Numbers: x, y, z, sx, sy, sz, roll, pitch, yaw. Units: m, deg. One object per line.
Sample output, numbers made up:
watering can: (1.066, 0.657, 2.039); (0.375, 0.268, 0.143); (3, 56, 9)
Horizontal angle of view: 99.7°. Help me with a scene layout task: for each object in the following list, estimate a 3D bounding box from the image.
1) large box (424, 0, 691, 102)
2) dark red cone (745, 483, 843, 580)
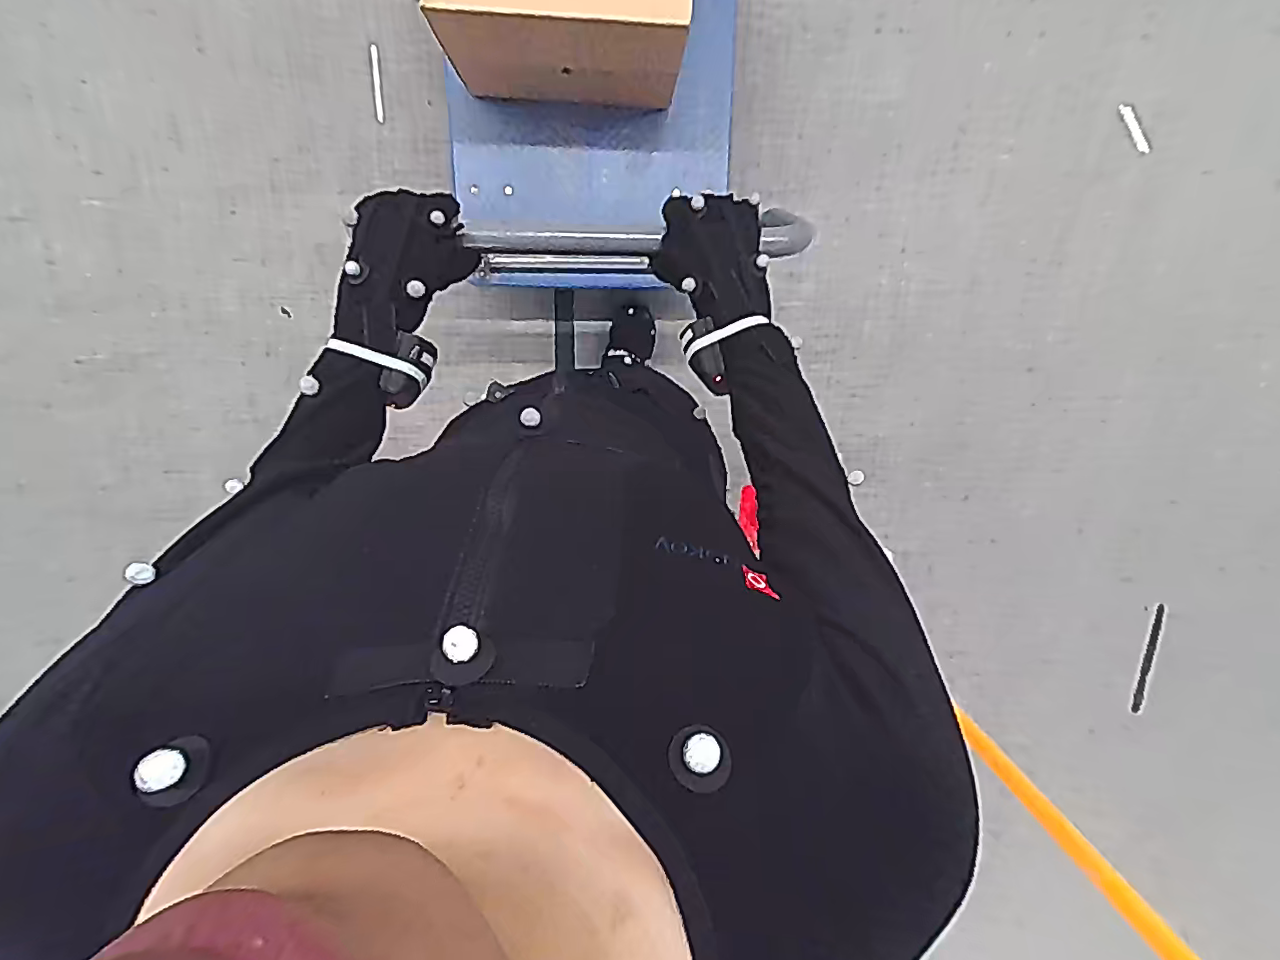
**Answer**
large box: (-0.124, -0.879, 0.917); (0.408, 0.320, 0.320); (1, 104, -2)
dark red cone: (0.404, 0.149, 1.345); (0.201, 0.394, 0.202); (-1, 105, -4)
